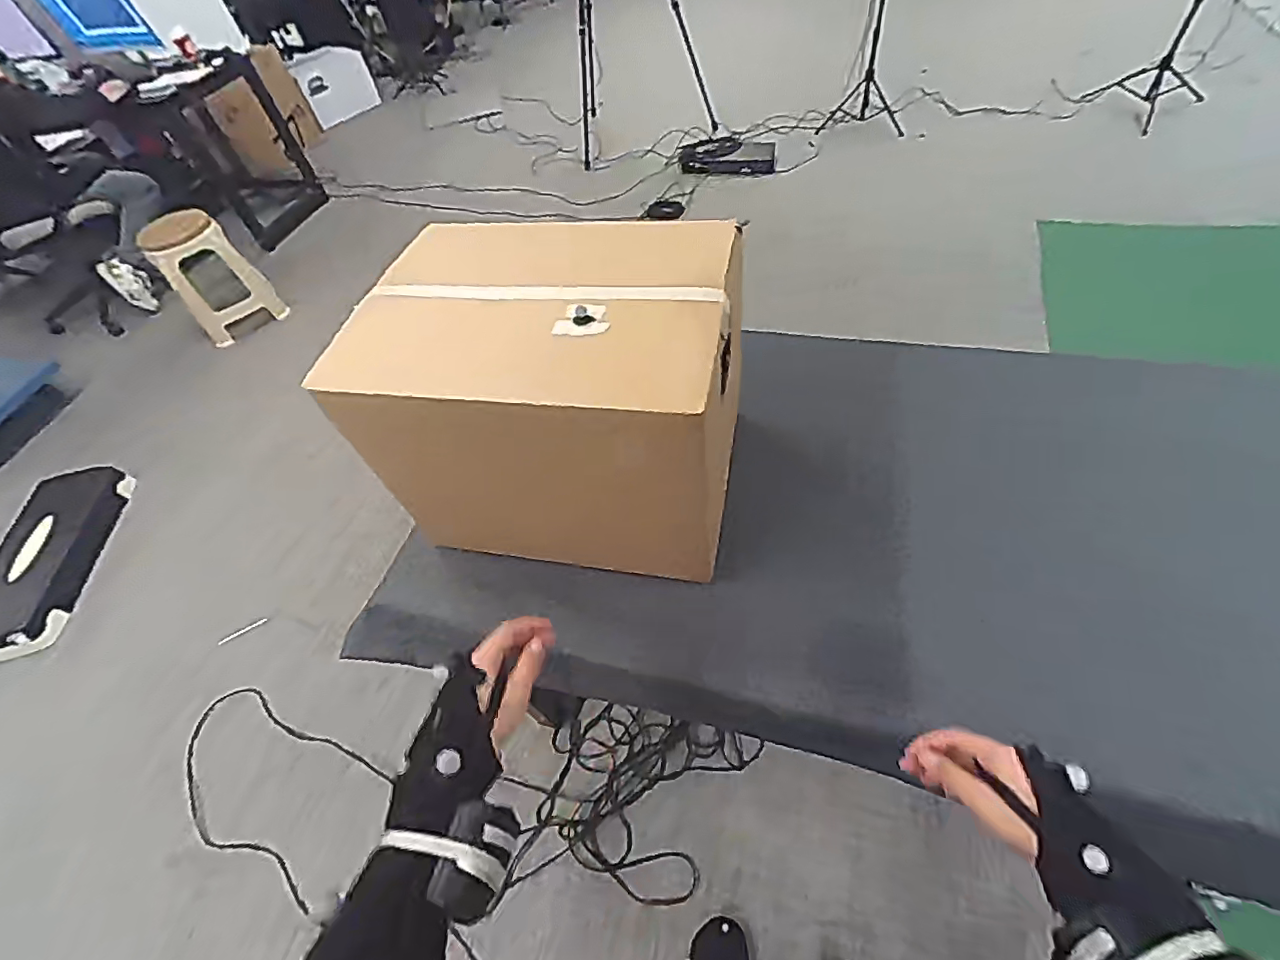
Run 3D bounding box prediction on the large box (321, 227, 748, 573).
[{"bbox_3d":[-0.082,-0.104,0.699,0.408,0.320,0.320,6,55,12],"label":"large box"}]
